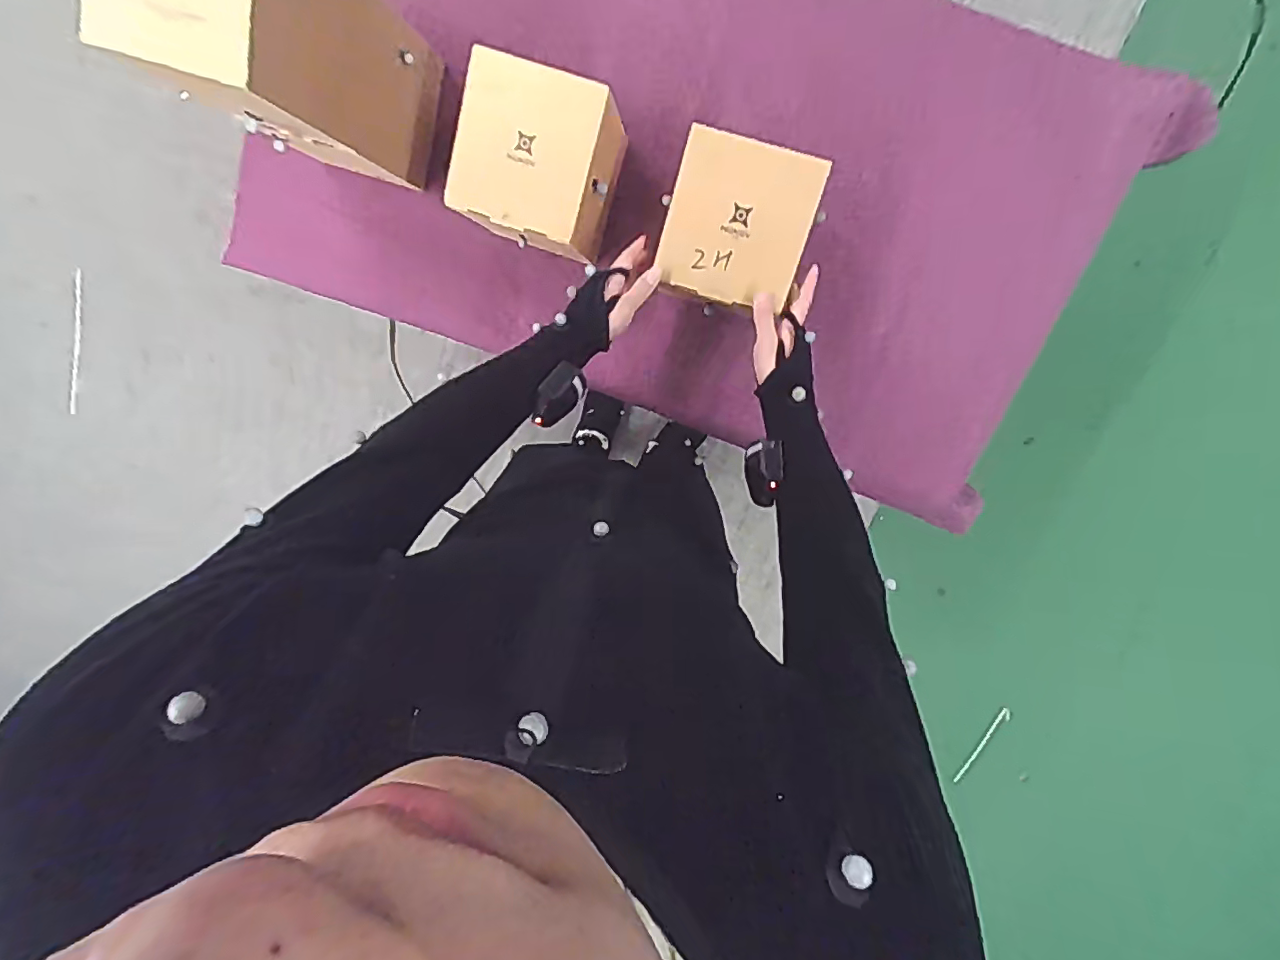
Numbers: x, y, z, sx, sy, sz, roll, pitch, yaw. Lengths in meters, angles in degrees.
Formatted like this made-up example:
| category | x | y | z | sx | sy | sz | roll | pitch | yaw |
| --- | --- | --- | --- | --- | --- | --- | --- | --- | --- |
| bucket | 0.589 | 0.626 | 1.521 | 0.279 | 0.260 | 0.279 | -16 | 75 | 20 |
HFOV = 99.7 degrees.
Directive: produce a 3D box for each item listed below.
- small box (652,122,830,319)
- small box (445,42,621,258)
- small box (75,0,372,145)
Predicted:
| category | x | y | z | sx | sy | sz | roll | pitch | yaw |
| --- | --- | --- | --- | --- | --- | --- | --- | --- | --- |
| small box | 0.121 | -0.321 | 0.708 | 0.168 | 0.176 | 0.179 | 17 | 106 | 1 |
| small box | -0.128 | -0.412 | 0.710 | 0.168 | 0.176 | 0.179 | 18 | 106 | 1 |
| small box | -0.400 | -0.481 | 0.545 | 0.168 | 0.176 | 0.179 | 18 | 105 | 1 |
